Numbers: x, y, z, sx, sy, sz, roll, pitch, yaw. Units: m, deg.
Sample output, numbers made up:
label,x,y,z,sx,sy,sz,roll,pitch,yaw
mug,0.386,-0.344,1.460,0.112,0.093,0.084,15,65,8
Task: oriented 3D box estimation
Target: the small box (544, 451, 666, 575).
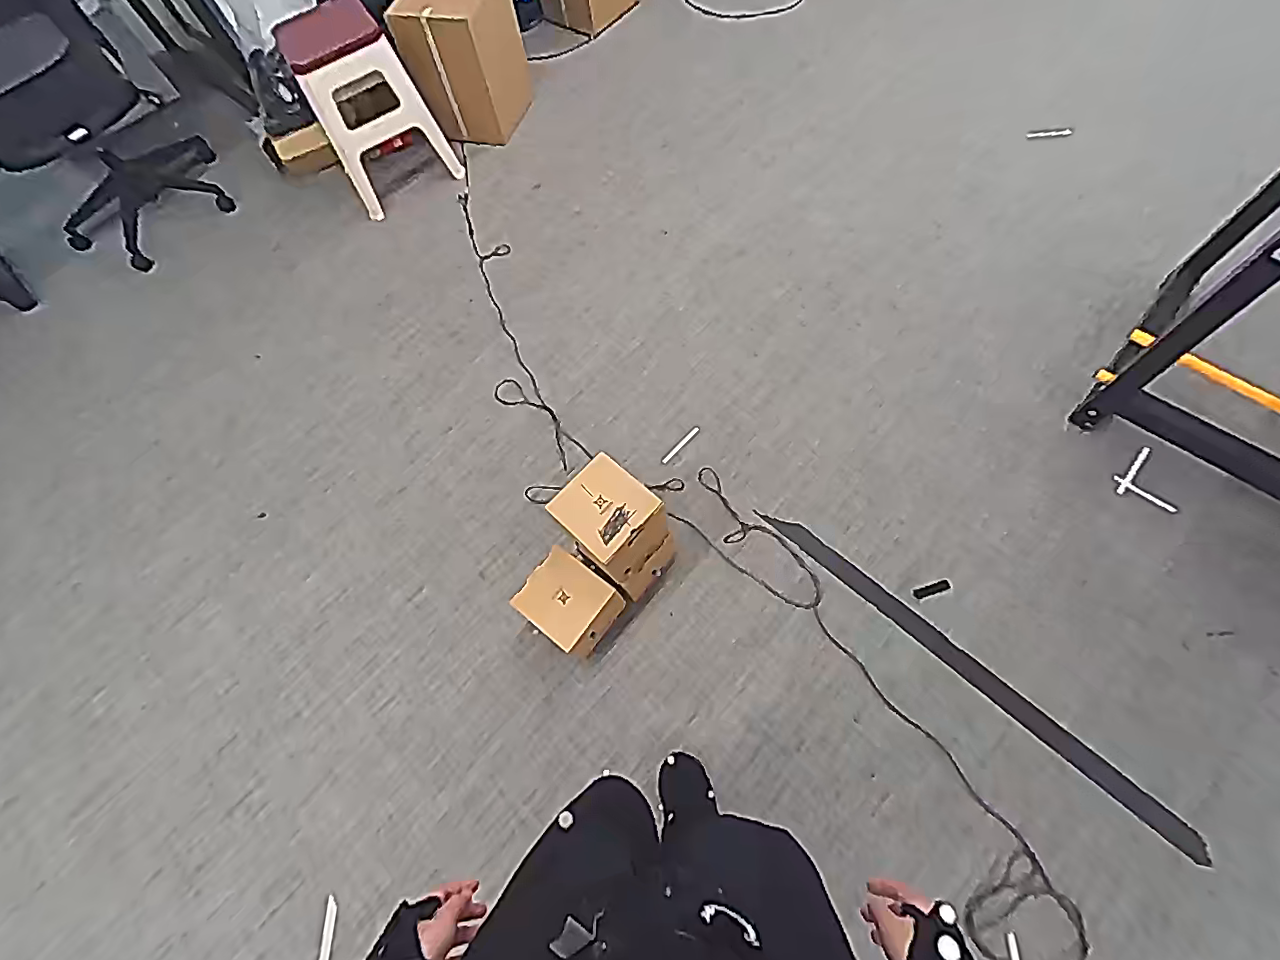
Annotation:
label,x,y,z,sx,sy,sz,roll,pitch,yaw
small box,-0.063,0.078,1.116,0.179,0.176,0.168,39,76,22
